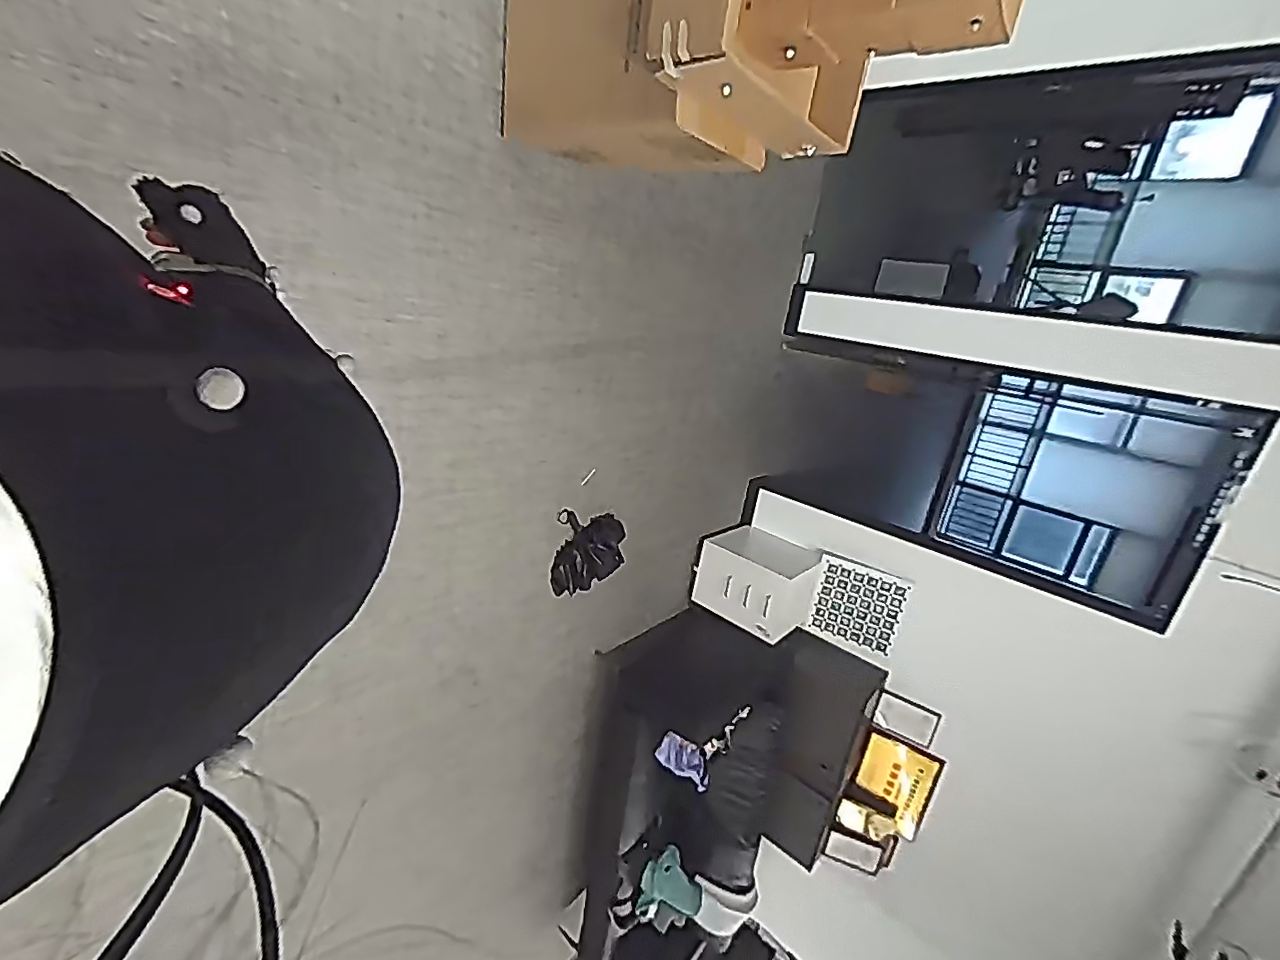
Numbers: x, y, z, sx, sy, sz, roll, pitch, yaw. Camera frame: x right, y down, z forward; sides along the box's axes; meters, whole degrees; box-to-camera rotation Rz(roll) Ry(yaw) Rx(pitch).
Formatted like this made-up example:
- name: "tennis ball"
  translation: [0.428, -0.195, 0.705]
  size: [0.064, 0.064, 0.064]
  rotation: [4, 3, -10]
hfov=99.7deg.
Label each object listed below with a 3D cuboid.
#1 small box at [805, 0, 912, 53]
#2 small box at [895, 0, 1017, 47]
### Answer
- name: "small box"
  translation: [0.447, -0.963, 1.053]
  size: [0.179, 0.176, 0.168]
  rotation: [-18, 122, -46]
- name: "small box"
  translation: [0.578, -0.911, 0.966]
  size: [0.179, 0.176, 0.168]
  rotation: [-15, 120, -50]
